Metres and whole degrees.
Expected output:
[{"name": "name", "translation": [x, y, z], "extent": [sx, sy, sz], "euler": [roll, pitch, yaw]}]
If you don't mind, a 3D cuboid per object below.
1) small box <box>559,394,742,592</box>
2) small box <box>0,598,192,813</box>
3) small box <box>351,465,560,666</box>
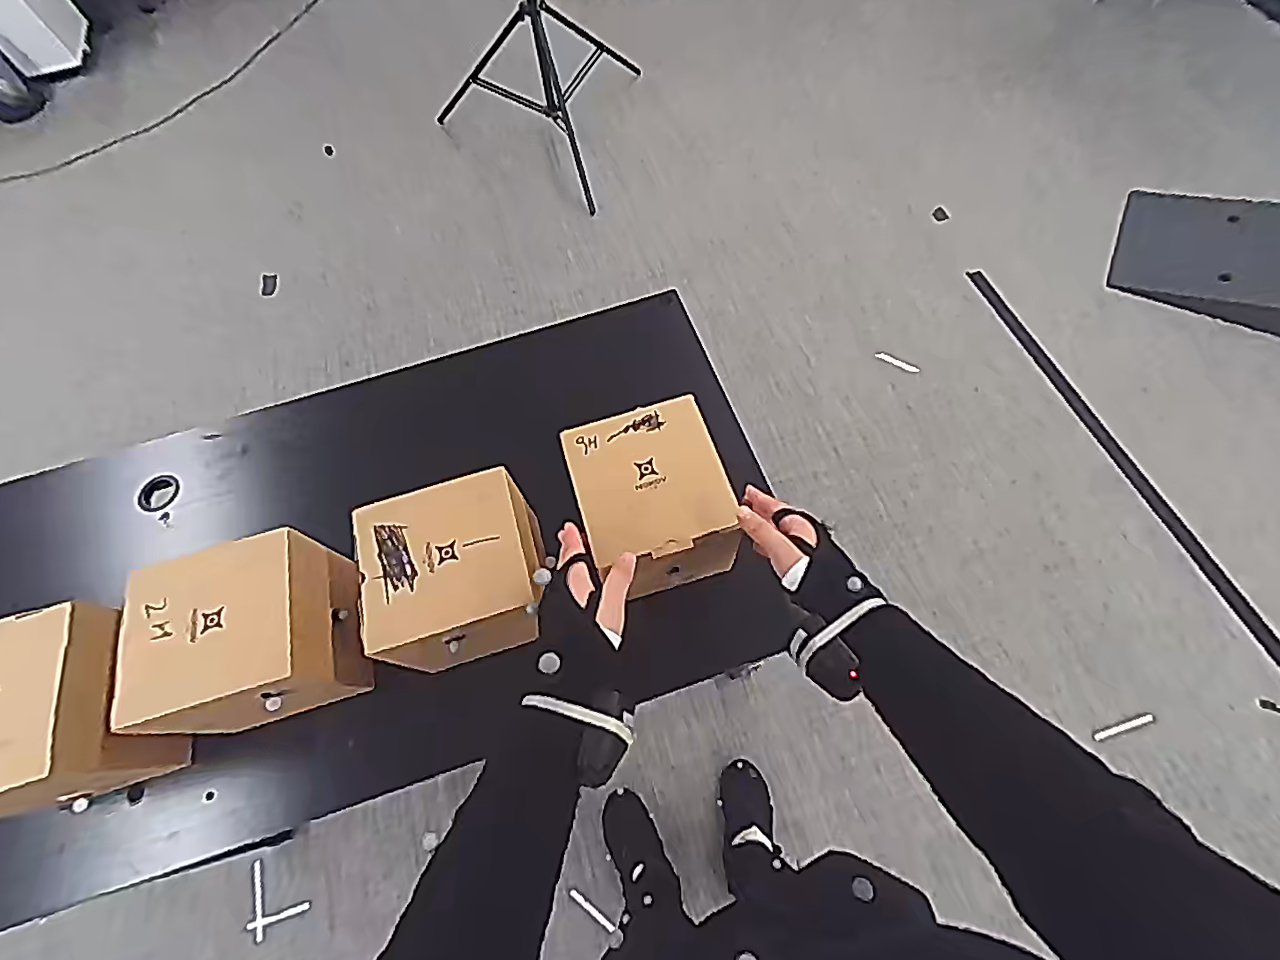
[{"name": "small box", "translation": [0.012, 0.028, 0.662], "extent": [0.168, 0.176, 0.179], "euler": [-16, 66, -5]}, {"name": "small box", "translation": [-0.644, 0.254, 0.600], "extent": [0.168, 0.176, 0.179], "euler": [-18, 66, -4]}, {"name": "small box", "translation": [-0.209, 0.110, 0.640], "extent": [0.179, 0.176, 0.168], "euler": [-17, 66, -5]}]
